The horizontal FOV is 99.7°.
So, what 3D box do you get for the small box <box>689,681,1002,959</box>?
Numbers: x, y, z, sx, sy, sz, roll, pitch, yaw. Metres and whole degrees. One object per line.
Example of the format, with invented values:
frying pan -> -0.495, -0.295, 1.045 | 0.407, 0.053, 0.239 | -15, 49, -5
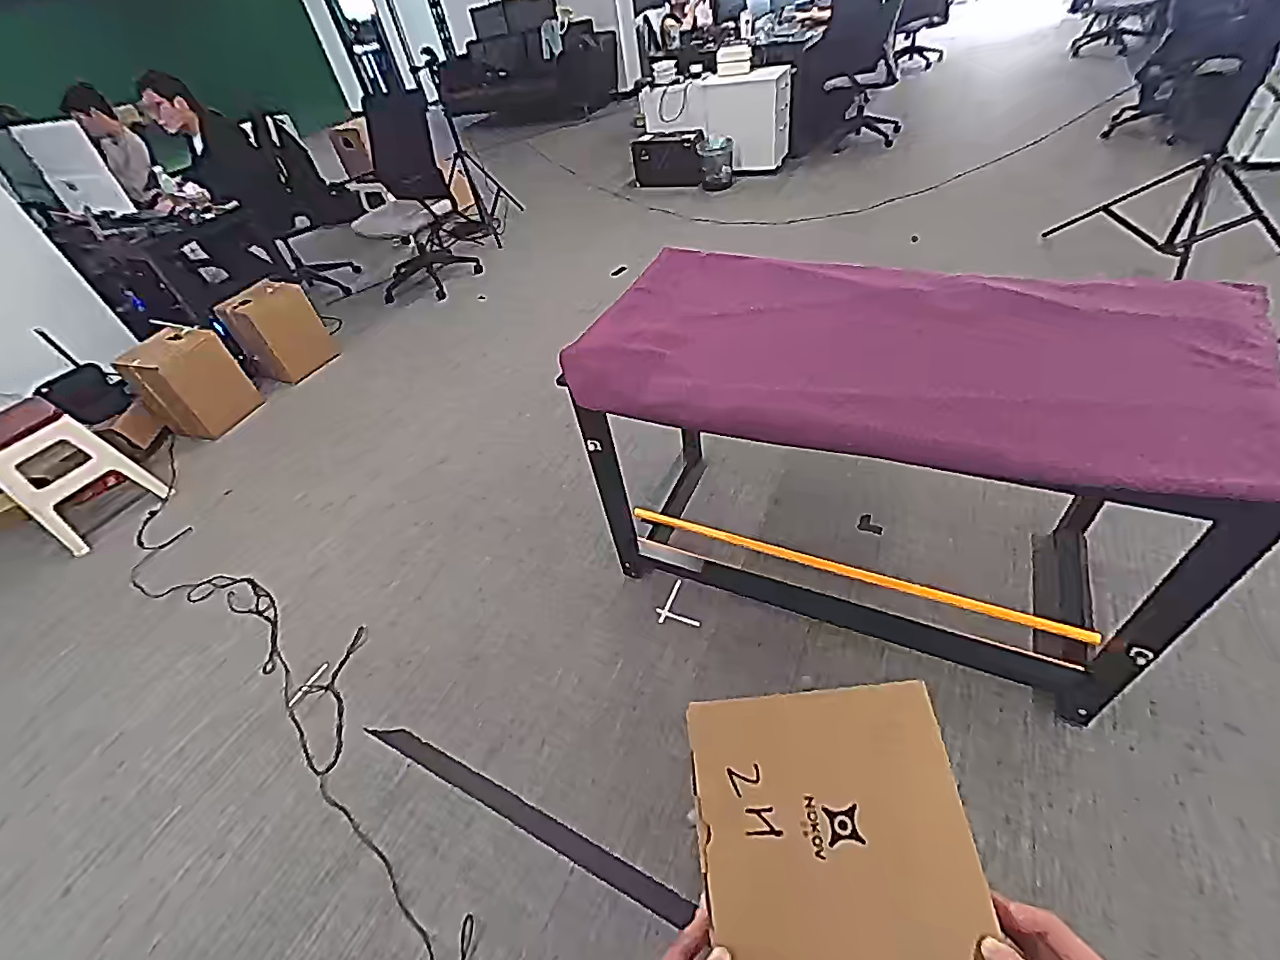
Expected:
small box -> 0.137, 0.263, 0.435 | 0.179, 0.176, 0.168 | -8, 62, 6
